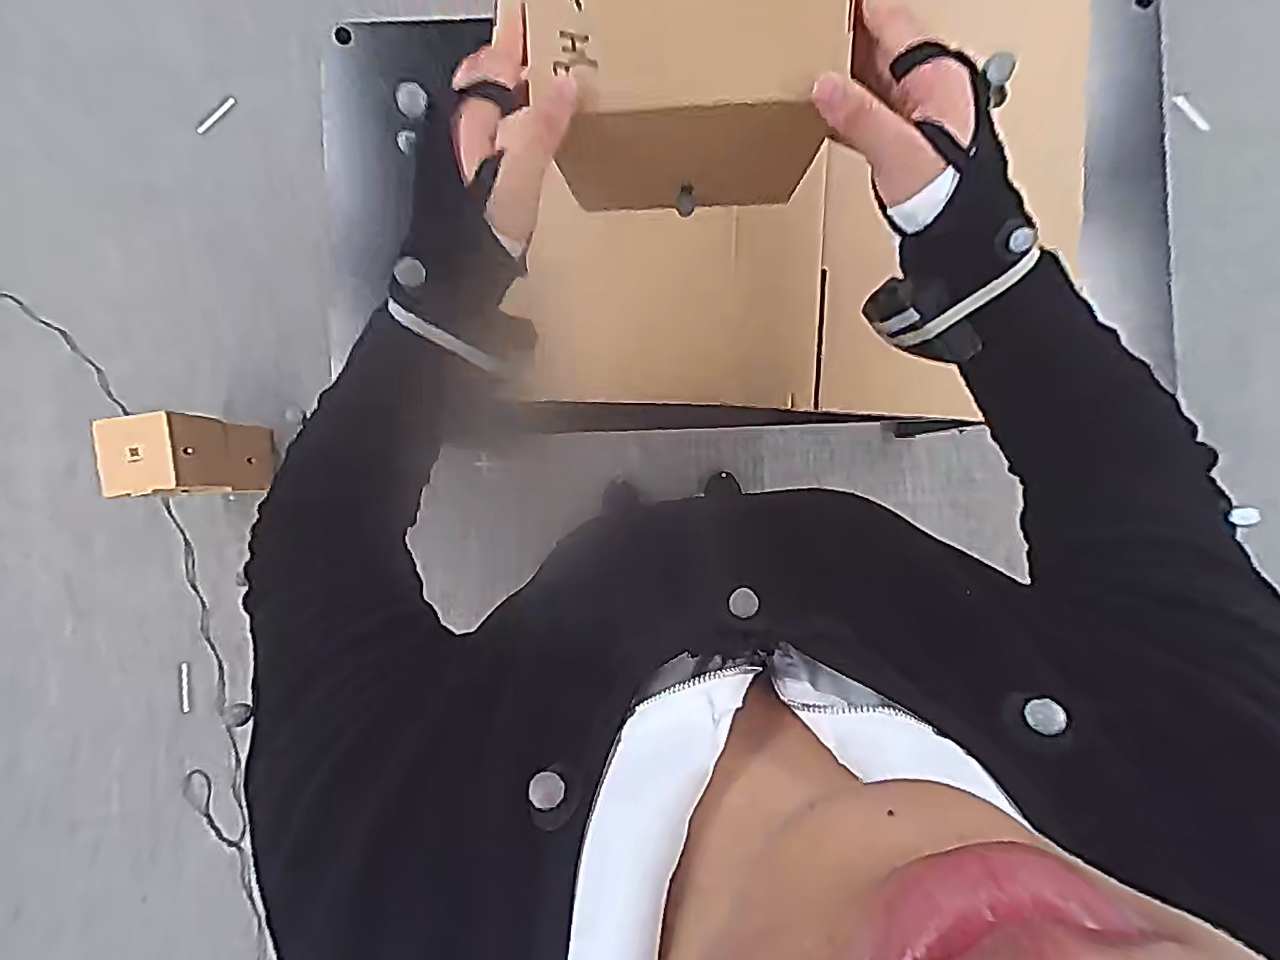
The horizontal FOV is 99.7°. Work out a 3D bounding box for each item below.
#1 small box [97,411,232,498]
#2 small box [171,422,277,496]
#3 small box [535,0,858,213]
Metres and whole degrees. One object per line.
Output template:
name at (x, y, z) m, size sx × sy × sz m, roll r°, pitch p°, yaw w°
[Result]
small box at (-1.108, -0.058, 1.275) m, size 0.168 × 0.176 × 0.179 m, roll -9°, pitch 89°, yaw 0°
small box at (-1.105, -0.051, 1.438) m, size 0.168 × 0.176 × 0.179 m, roll -6°, pitch 90°, yaw 1°
small box at (0.032, -0.296, 0.367) m, size 0.179 × 0.176 × 0.168 m, roll -1°, pitch 98°, yaw 3°
